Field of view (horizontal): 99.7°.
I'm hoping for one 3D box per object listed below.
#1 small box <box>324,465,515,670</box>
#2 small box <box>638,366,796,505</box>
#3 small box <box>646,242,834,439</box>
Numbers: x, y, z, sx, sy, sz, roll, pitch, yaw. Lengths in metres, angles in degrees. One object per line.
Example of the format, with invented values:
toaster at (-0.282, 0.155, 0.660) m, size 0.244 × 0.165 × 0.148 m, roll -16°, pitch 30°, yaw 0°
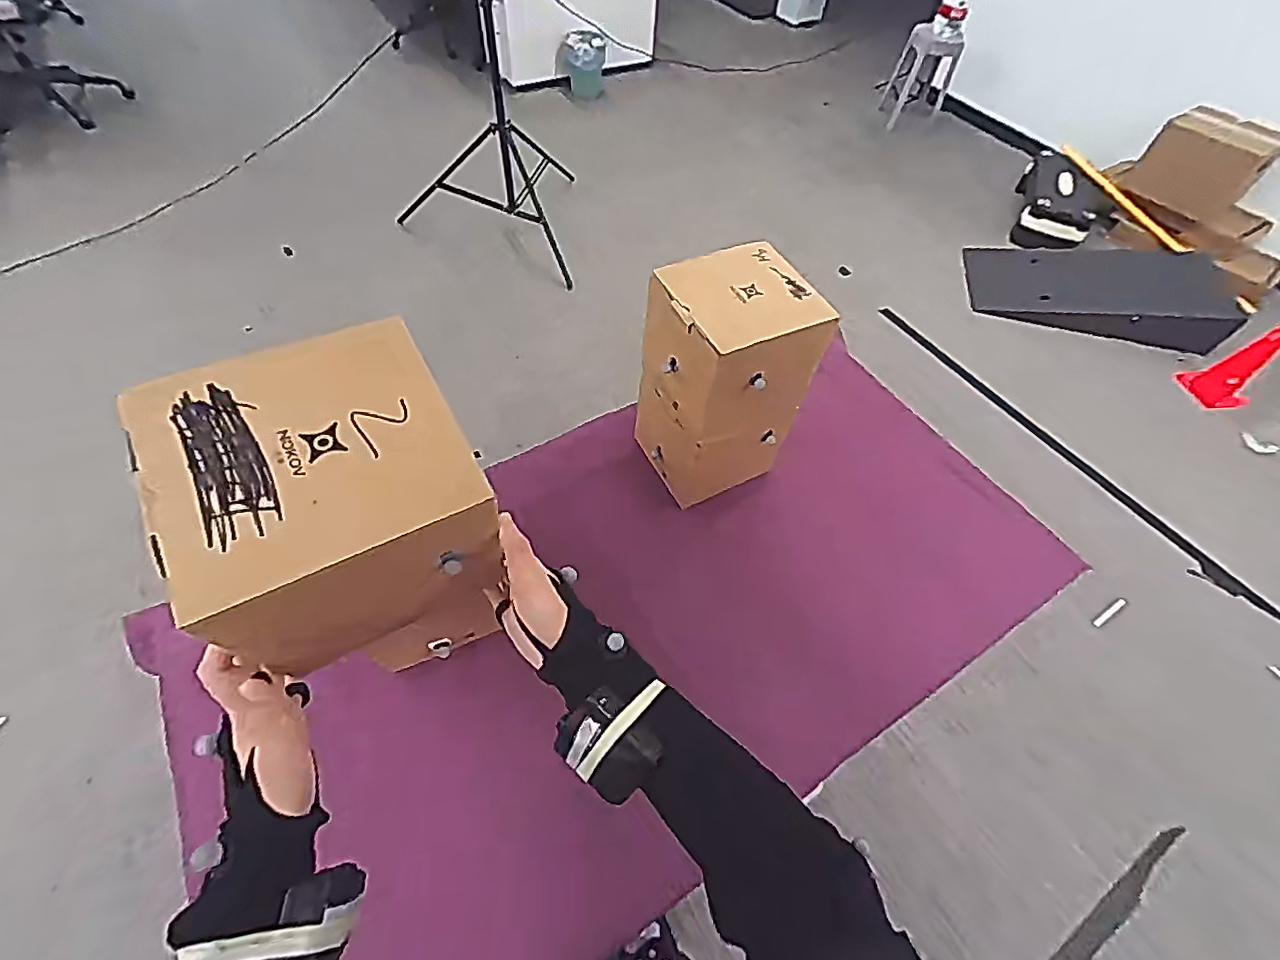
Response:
small box at (-0.273, 0.115, 0.694) m, size 0.168 × 0.176 × 0.179 m, roll -21°, pitch 62°, yaw -16°
small box at (0.110, -0.090, 0.860) m, size 0.179 × 0.176 × 0.168 m, roll -23°, pitch 61°, yaw -18°
small box at (0.119, -0.182, 0.725) m, size 0.179 × 0.176 × 0.168 m, roll -22°, pitch 61°, yaw -17°
